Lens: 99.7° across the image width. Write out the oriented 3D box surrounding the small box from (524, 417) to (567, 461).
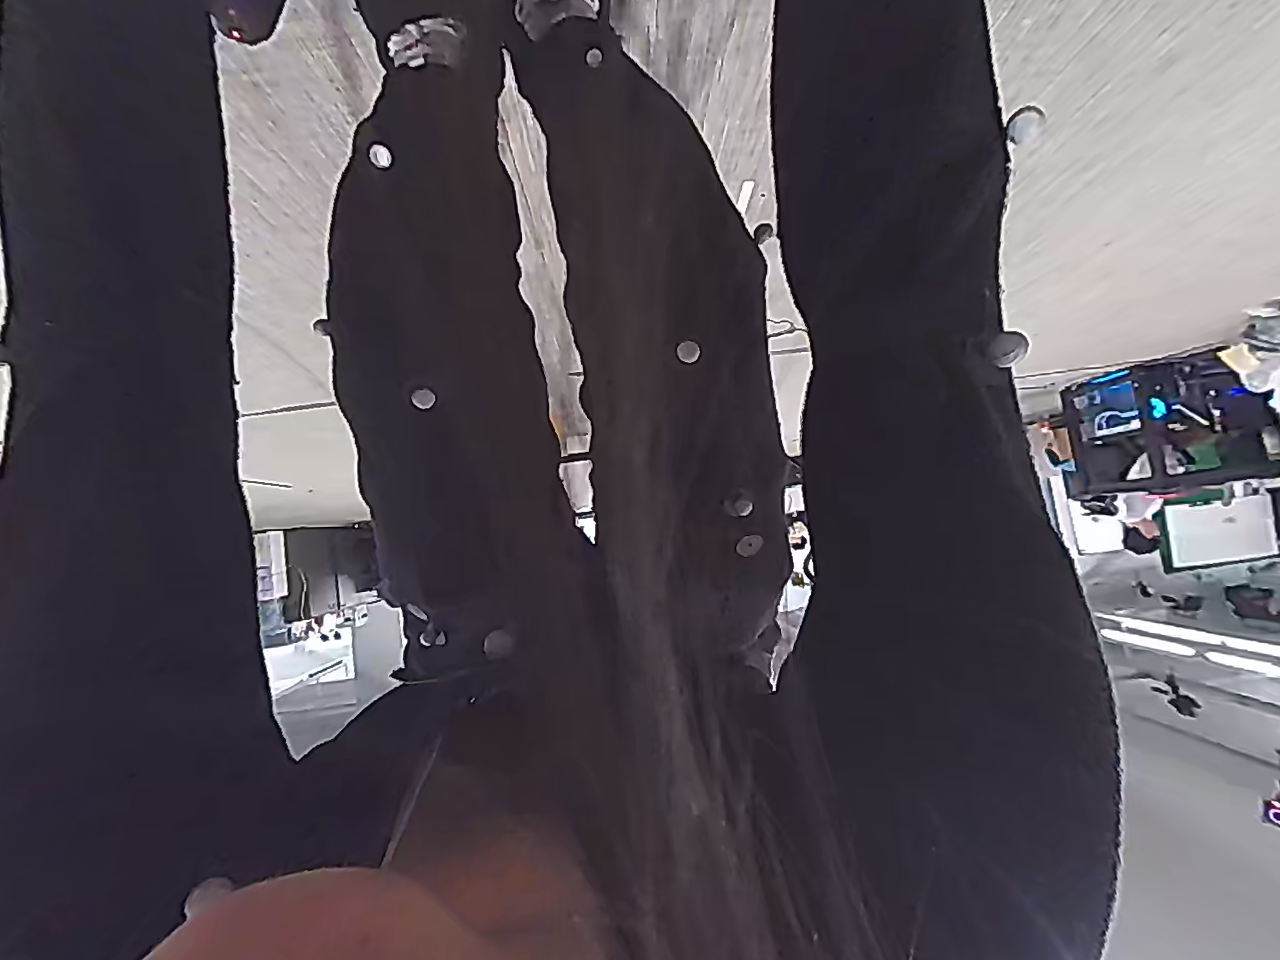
[{"bbox_3d":[-0.439,-0.193,2.520,0.168,0.176,0.179,-8,174,-2],"label":"small box"}]
